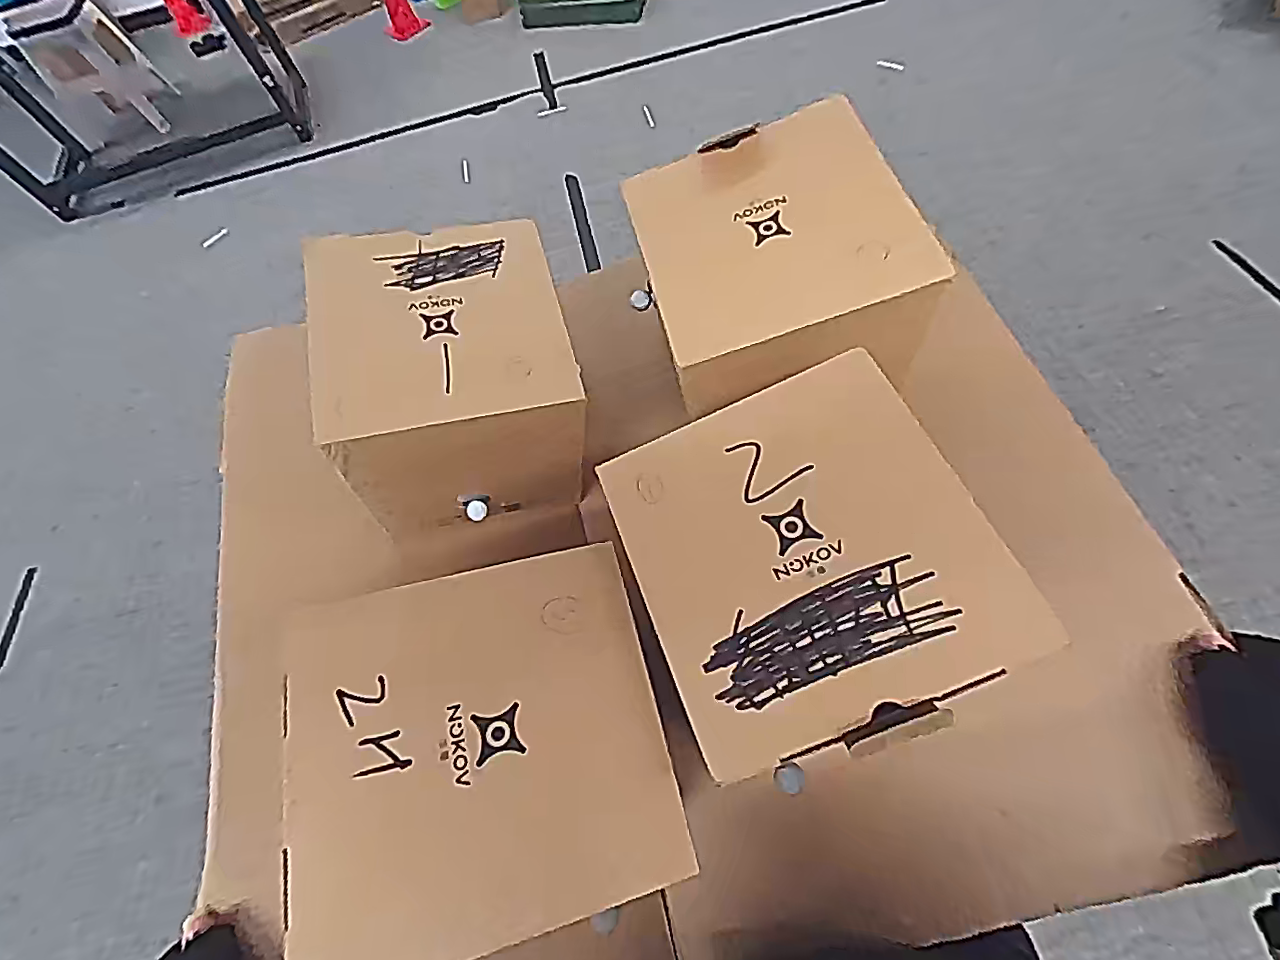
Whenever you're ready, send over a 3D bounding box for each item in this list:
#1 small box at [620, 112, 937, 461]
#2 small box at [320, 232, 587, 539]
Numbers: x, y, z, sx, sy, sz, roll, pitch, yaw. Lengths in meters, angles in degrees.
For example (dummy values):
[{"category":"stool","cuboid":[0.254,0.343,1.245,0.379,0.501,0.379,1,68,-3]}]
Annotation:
[{"category":"small box","cuboid":[0.099,-0.132,0.429,0.168,0.176,0.179,-18,64,7]},{"category":"small box","cuboid":[-0.144,-0.072,0.449,0.168,0.176,0.179,-12,66,-12]}]
